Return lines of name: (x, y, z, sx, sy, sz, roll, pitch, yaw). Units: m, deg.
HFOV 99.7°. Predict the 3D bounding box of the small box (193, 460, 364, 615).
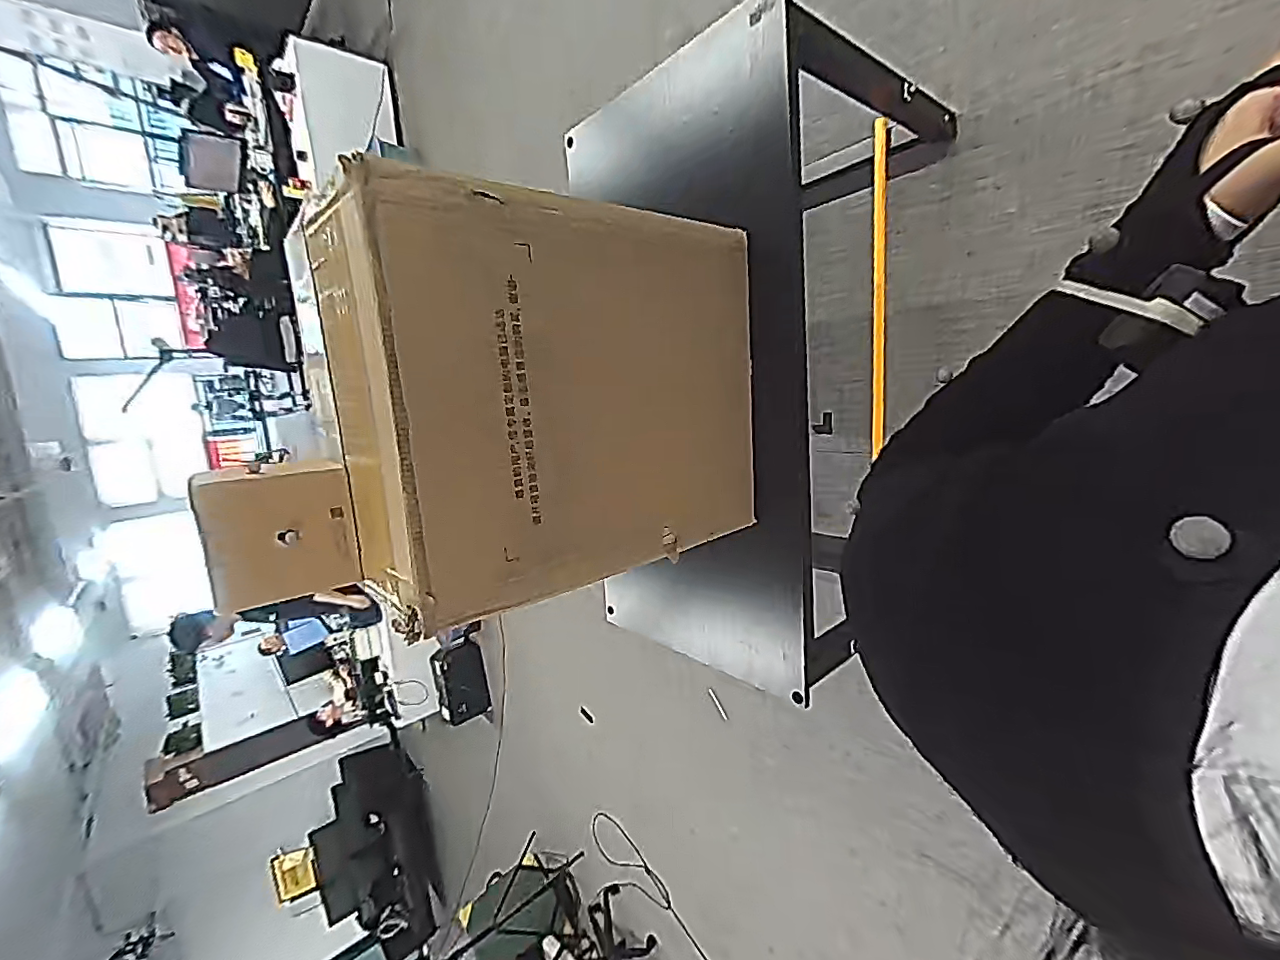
small box: (-0.500, 0.066, 0.757, 0.179, 0.176, 0.168, 8, 105, 50)
